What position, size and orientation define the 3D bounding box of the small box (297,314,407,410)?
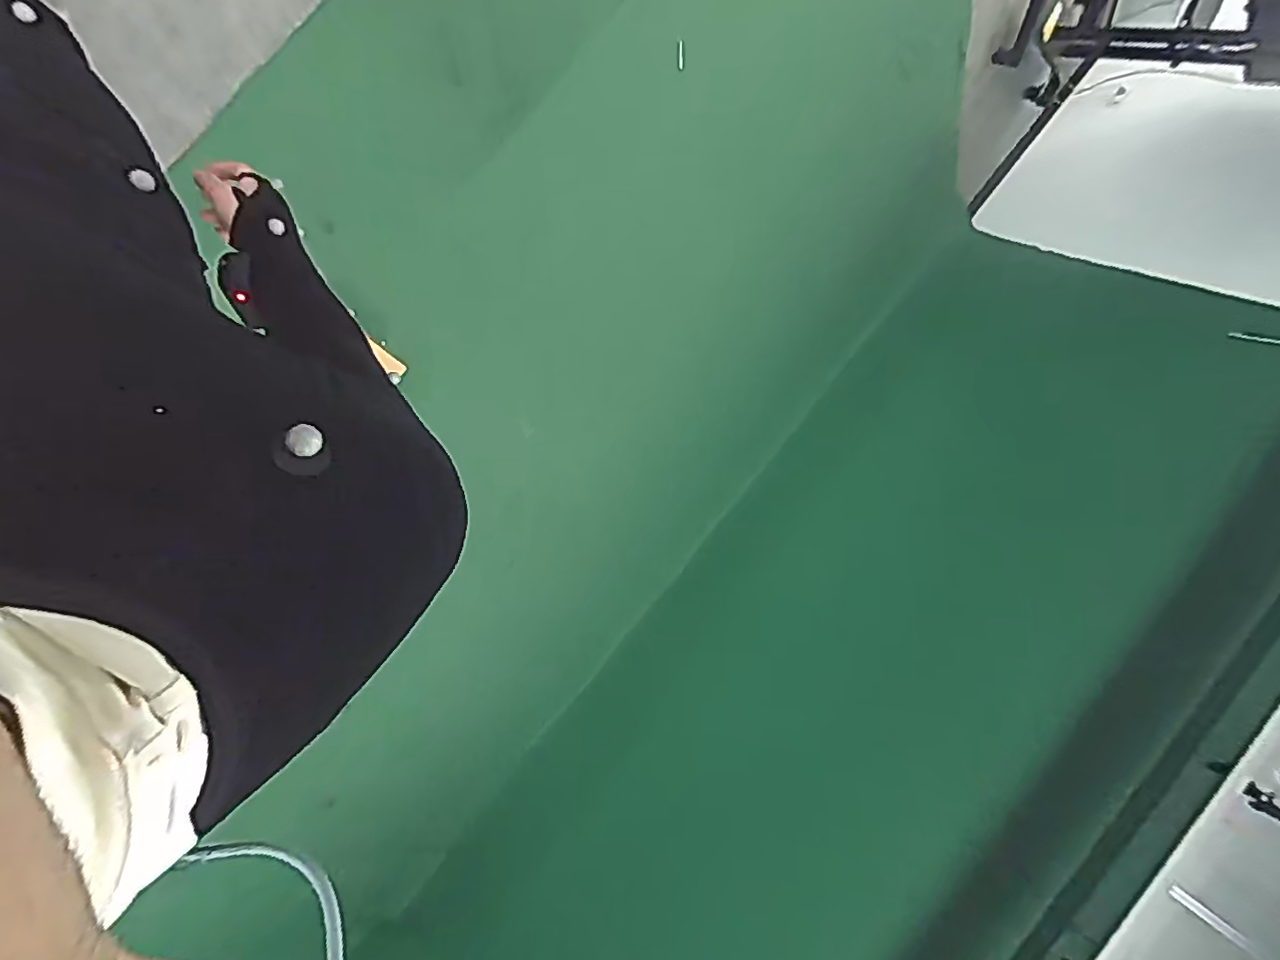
[{"bbox_3d":[-0.788,-0.327,1.474,0.168,0.176,0.179,-50,147,-4],"label":"small box"}]
